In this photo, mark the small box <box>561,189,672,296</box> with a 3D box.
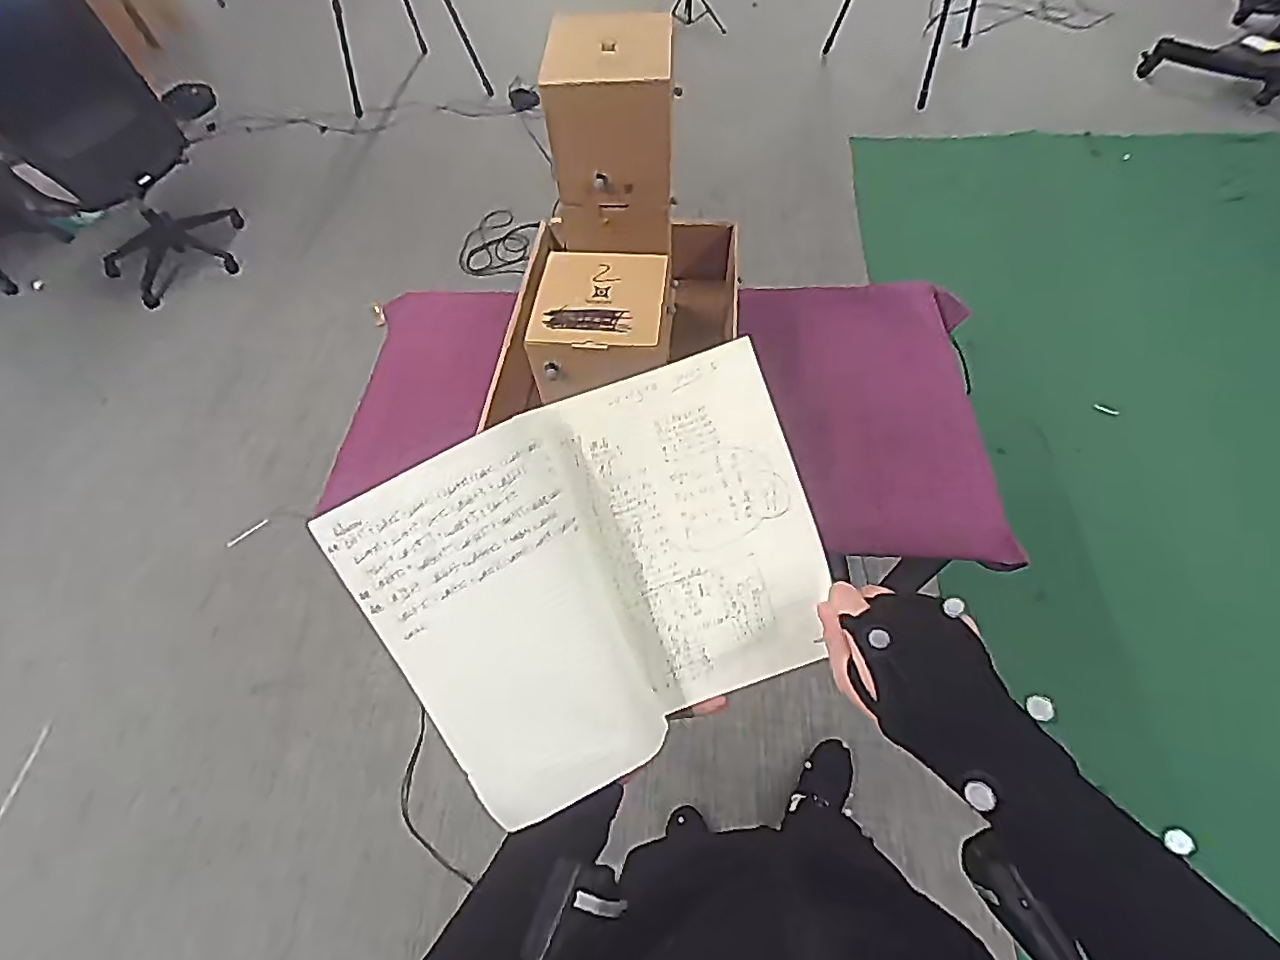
[{"bbox_3d":[-0.030,-0.431,0.917,0.168,0.176,0.179,1,60,4],"label":"small box"}]

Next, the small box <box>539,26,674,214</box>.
[{"bbox_3d":[-0.037,-0.511,0.775,0.168,0.176,0.179,1,61,4],"label":"small box"}]

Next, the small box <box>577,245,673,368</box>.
[{"bbox_3d":[-0.022,-0.342,1.055,0.168,0.176,0.179,1,61,4],"label":"small box"}]
